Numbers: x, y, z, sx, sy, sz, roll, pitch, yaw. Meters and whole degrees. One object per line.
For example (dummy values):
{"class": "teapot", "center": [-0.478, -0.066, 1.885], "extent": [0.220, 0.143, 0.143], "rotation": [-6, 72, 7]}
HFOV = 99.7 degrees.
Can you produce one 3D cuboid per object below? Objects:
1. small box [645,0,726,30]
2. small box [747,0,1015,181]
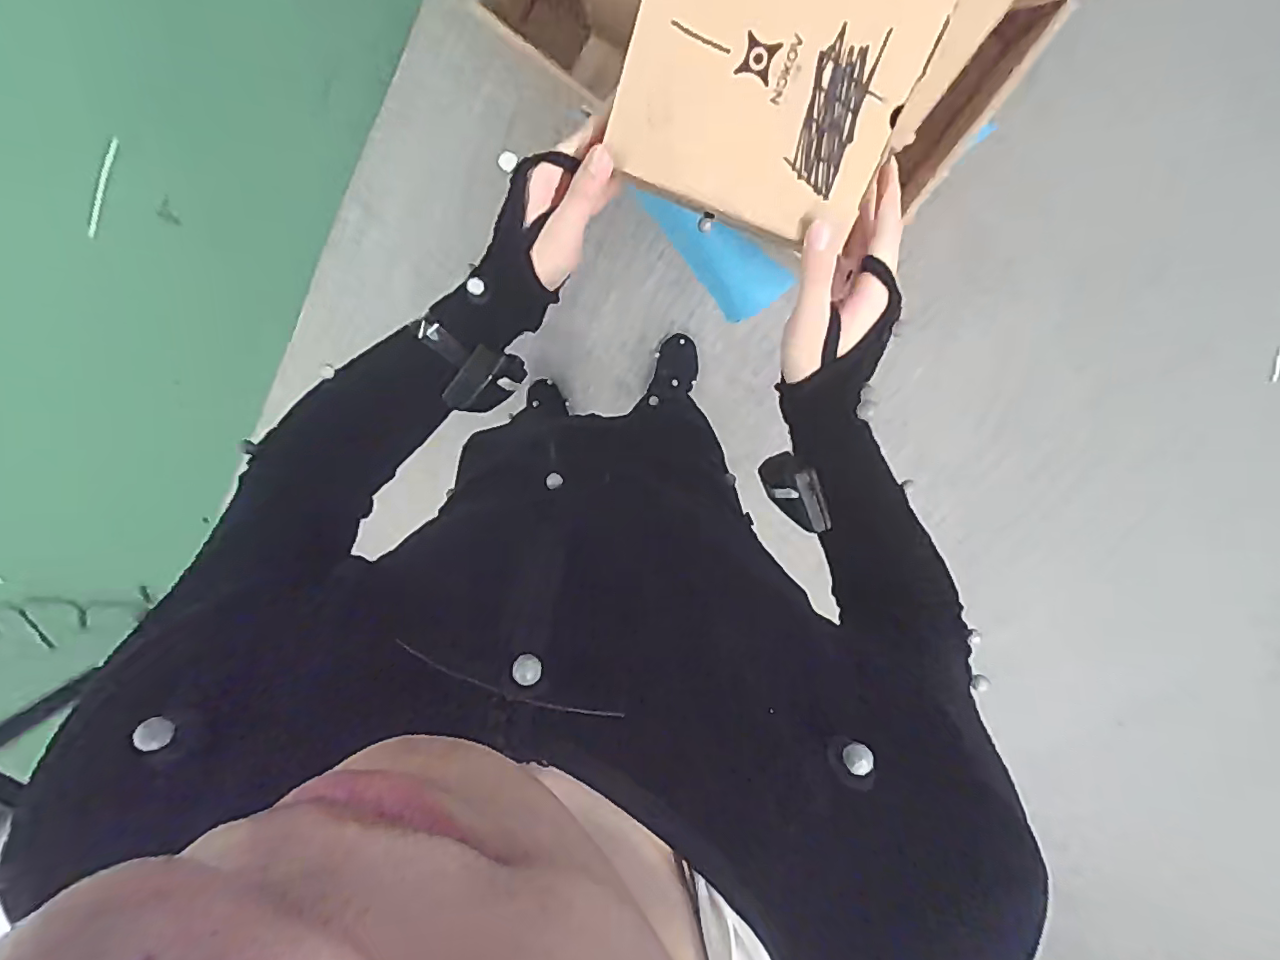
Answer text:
{"class": "small box", "center": [0.035, -0.596, 0.524], "extent": [0.179, 0.176, 0.168], "rotation": [30, 108, -5]}
{"class": "small box", "center": [0.227, -0.441, 0.551], "extent": [0.179, 0.176, 0.168], "rotation": [36, 107, -5]}
